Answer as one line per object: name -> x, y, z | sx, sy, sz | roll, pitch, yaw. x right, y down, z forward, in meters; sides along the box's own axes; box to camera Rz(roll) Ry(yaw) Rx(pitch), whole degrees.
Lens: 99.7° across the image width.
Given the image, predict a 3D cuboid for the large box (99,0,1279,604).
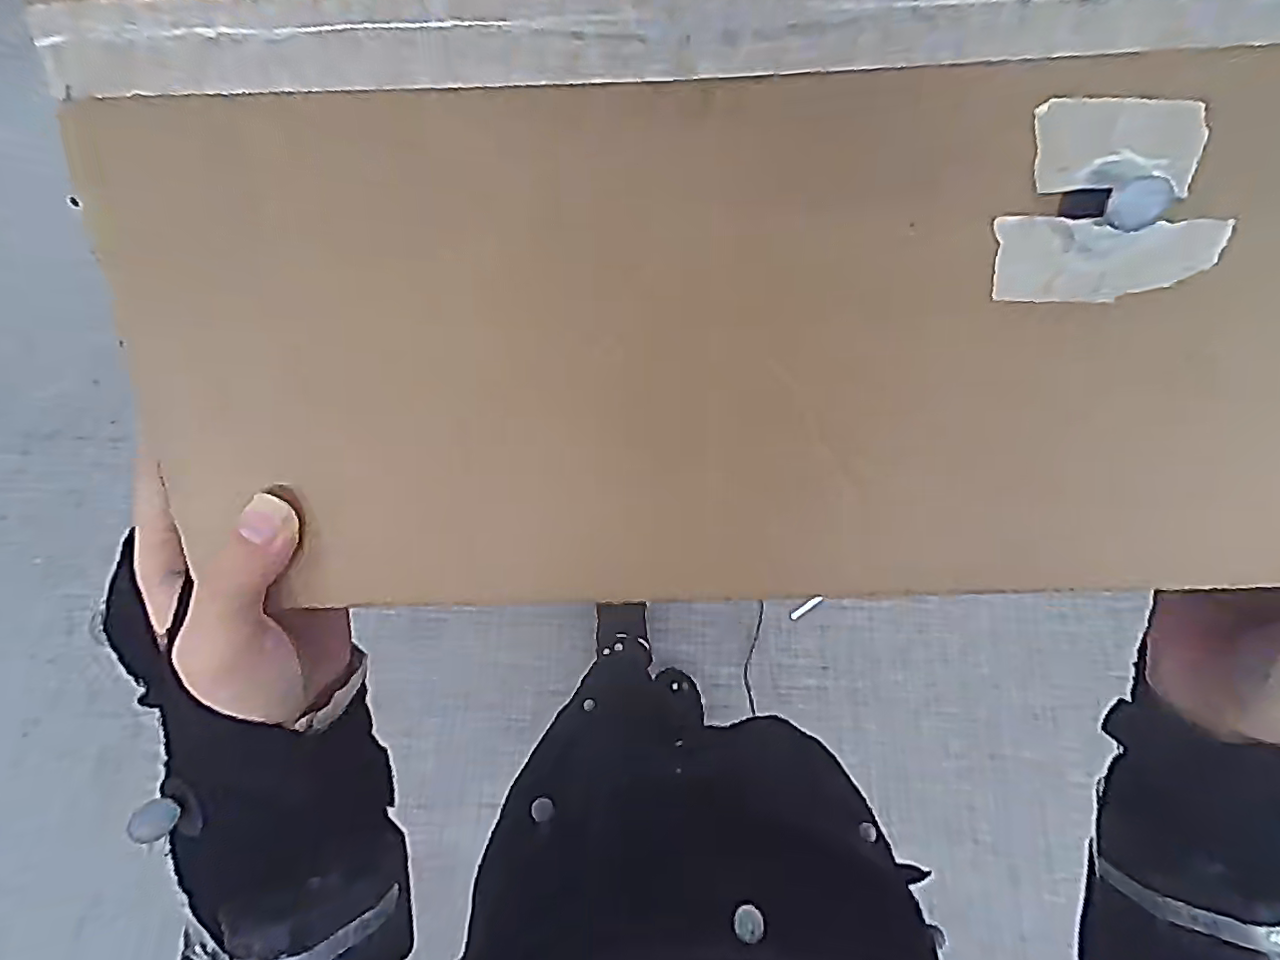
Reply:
large box -> 0.051, -0.150, 0.293 | 0.408, 0.320, 0.320 | -2, 105, 0
